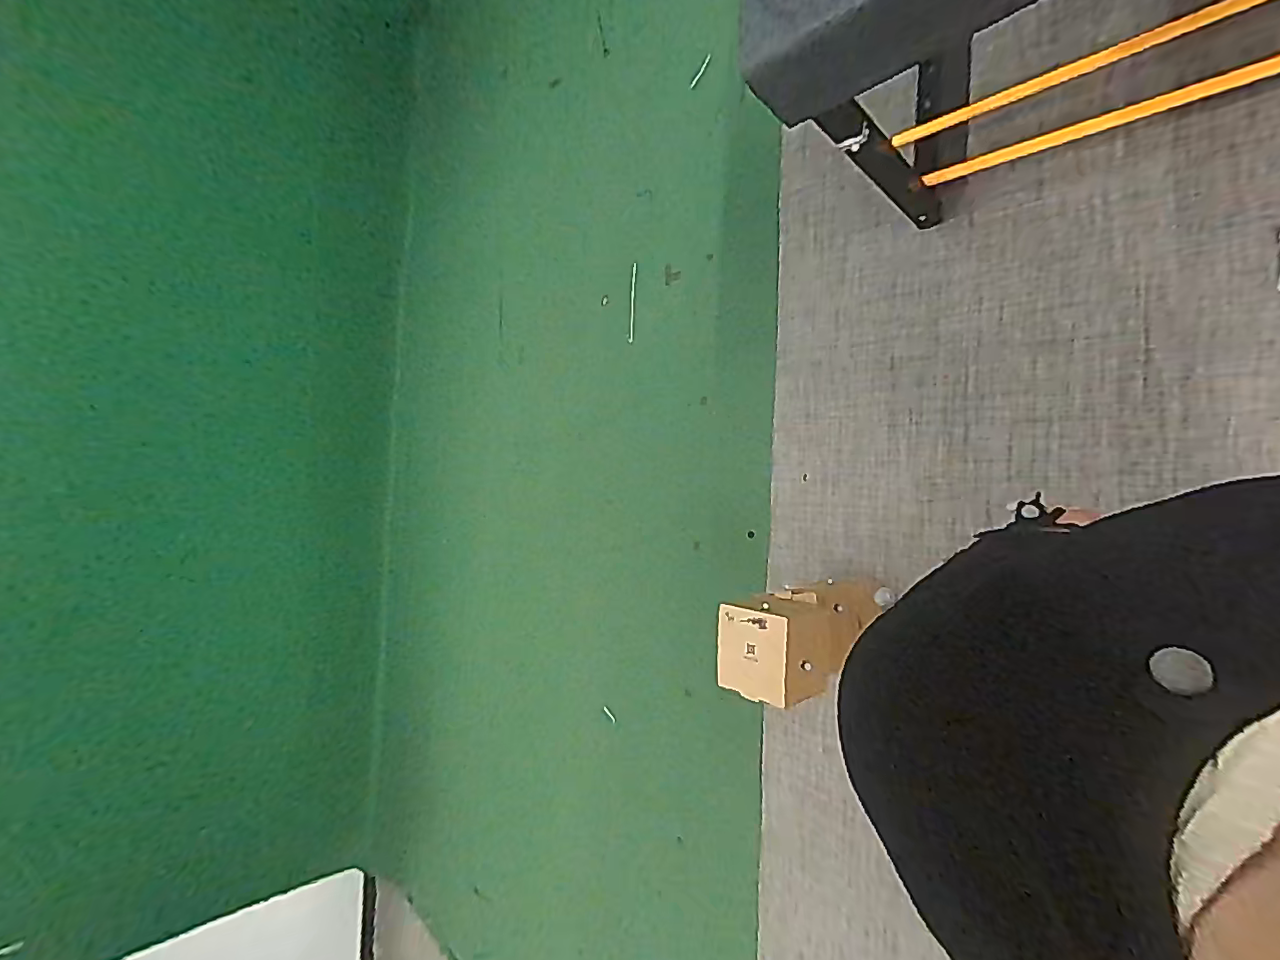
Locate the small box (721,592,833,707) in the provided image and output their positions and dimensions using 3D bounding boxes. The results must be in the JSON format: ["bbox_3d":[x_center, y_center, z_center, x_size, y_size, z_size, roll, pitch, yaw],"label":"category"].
[{"bbox_3d":[0.287,0.342,1.128,0.168,0.176,0.179,1,89,47],"label":"small box"}]

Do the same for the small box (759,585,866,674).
[{"bbox_3d":[0.399,0.338,1.250,0.168,0.176,0.179,-17,75,46],"label":"small box"}]

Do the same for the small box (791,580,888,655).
[{"bbox_3d":[0.510,0.342,1.368,0.179,0.176,0.168,-13,77,46],"label":"small box"}]
